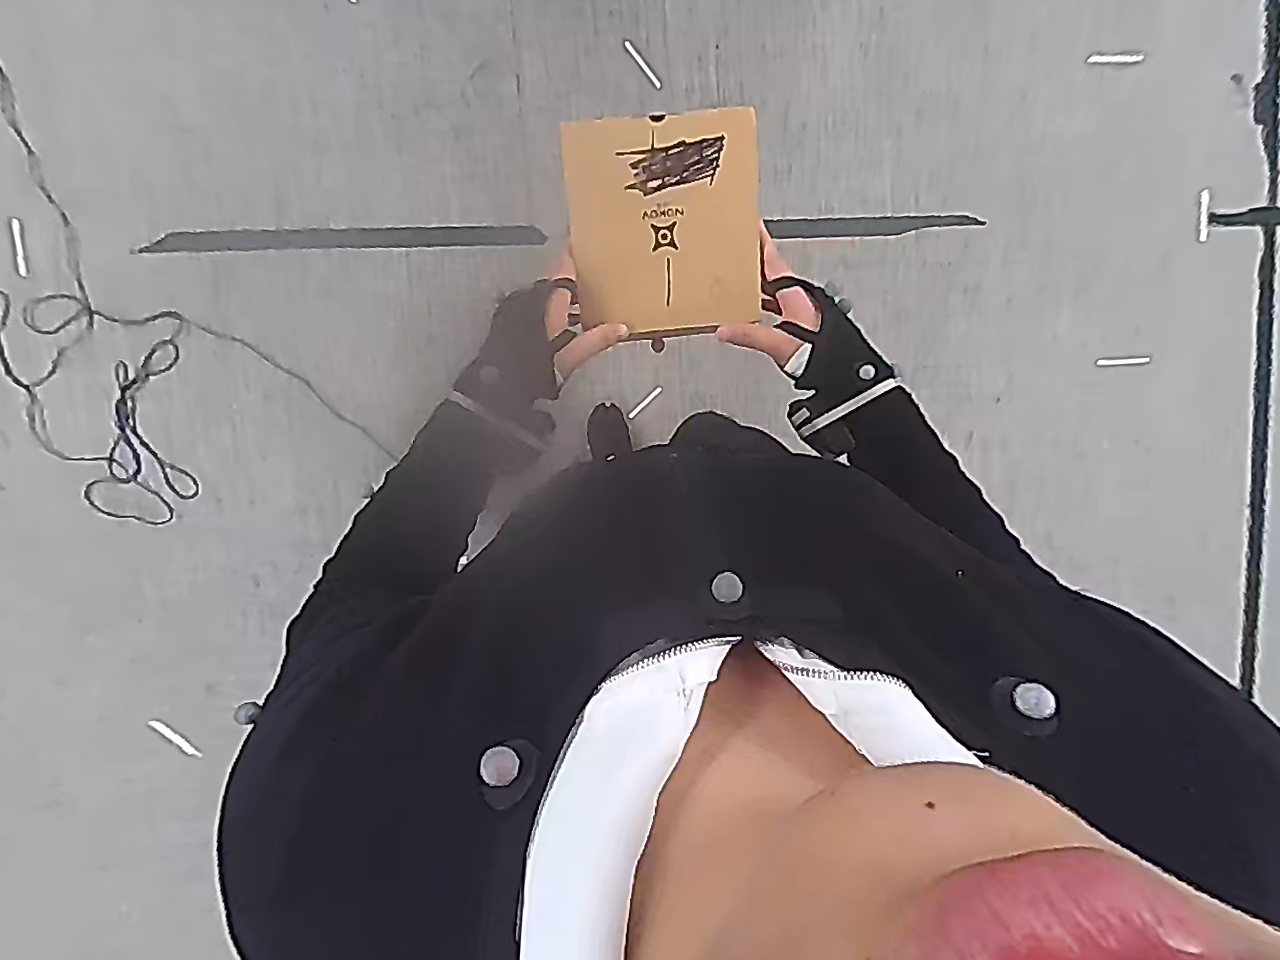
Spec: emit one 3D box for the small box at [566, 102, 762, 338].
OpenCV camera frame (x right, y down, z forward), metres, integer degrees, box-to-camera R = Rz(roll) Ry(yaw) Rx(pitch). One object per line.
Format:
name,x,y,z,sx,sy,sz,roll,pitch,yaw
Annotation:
small box,0.020,-0.244,0.549,0.168,0.176,0.179,-5,102,-1
